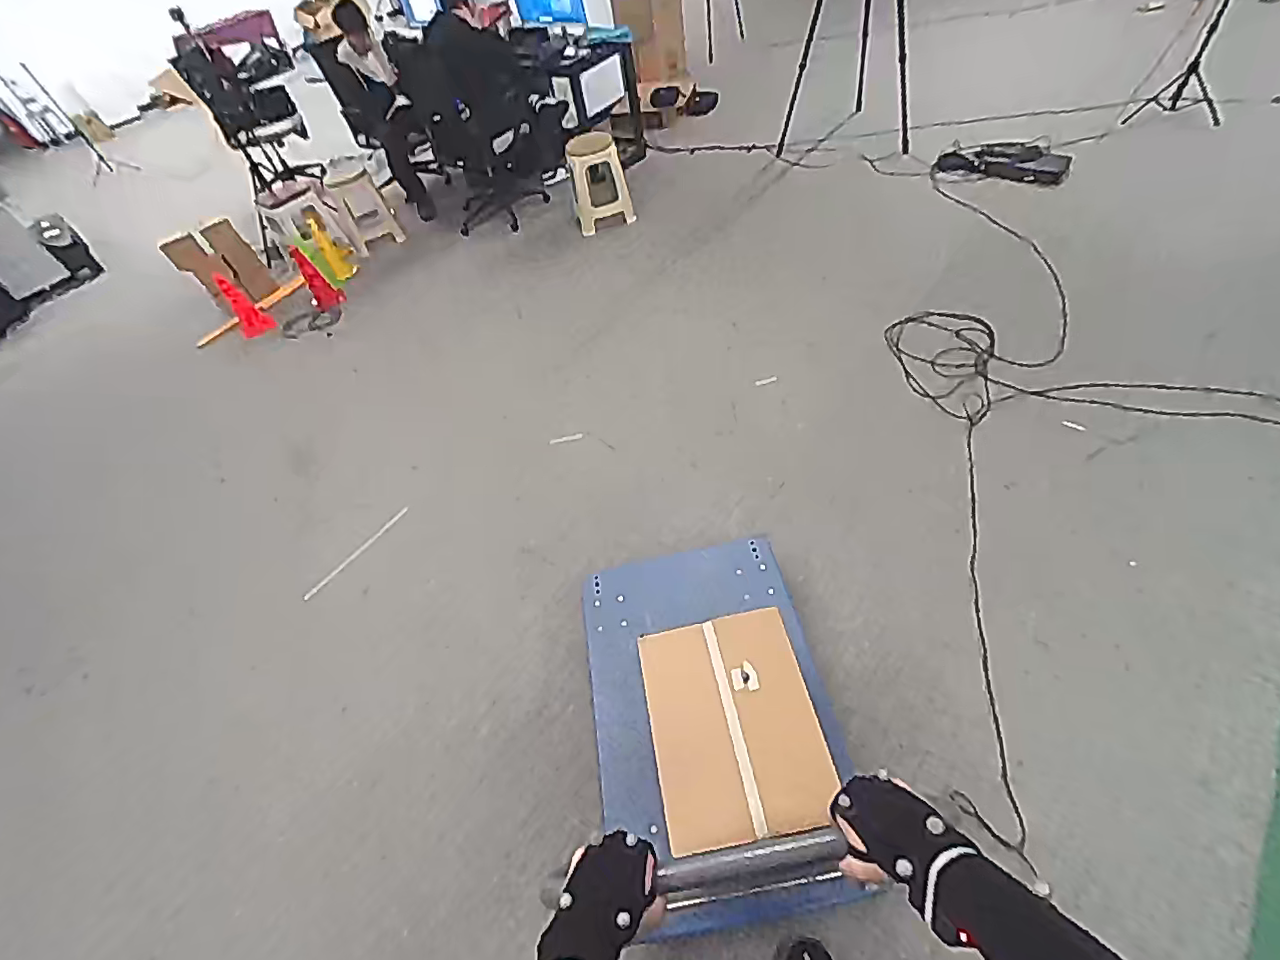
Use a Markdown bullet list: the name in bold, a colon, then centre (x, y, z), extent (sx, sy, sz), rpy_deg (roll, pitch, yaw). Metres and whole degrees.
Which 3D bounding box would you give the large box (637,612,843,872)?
- **large box**: centre (0.199, 0.564, 1.173), extent (0.320, 0.320, 0.408), rpy_deg (-13, 48, 1)
